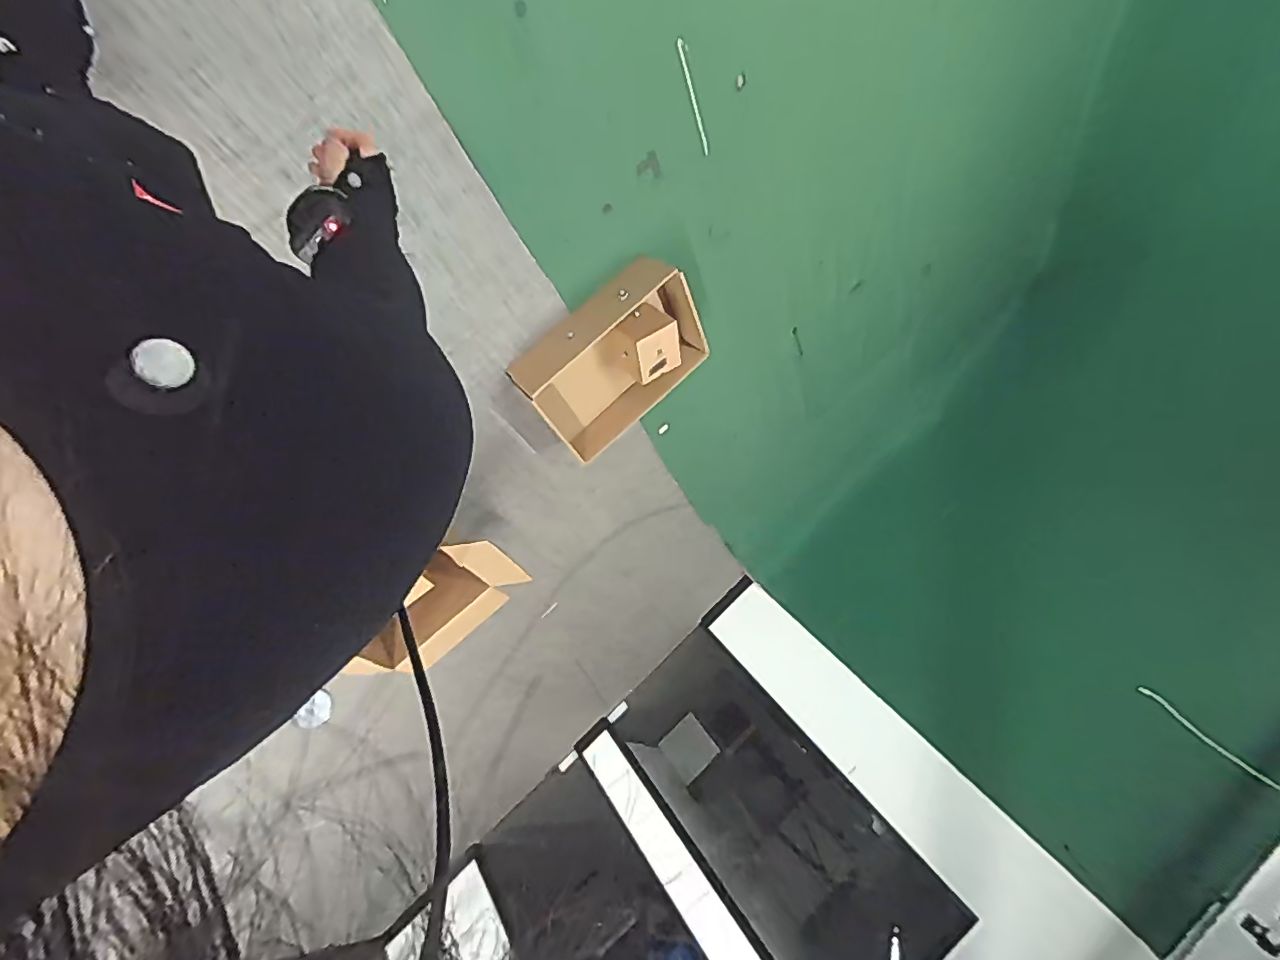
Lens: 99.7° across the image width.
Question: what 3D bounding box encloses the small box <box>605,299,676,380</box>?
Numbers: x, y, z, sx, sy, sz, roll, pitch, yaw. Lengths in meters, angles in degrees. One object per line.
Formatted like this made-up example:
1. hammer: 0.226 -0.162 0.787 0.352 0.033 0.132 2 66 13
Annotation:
1. small box: 0.002 -0.473 1.811 0.168 0.176 0.179 -33 143 -17
